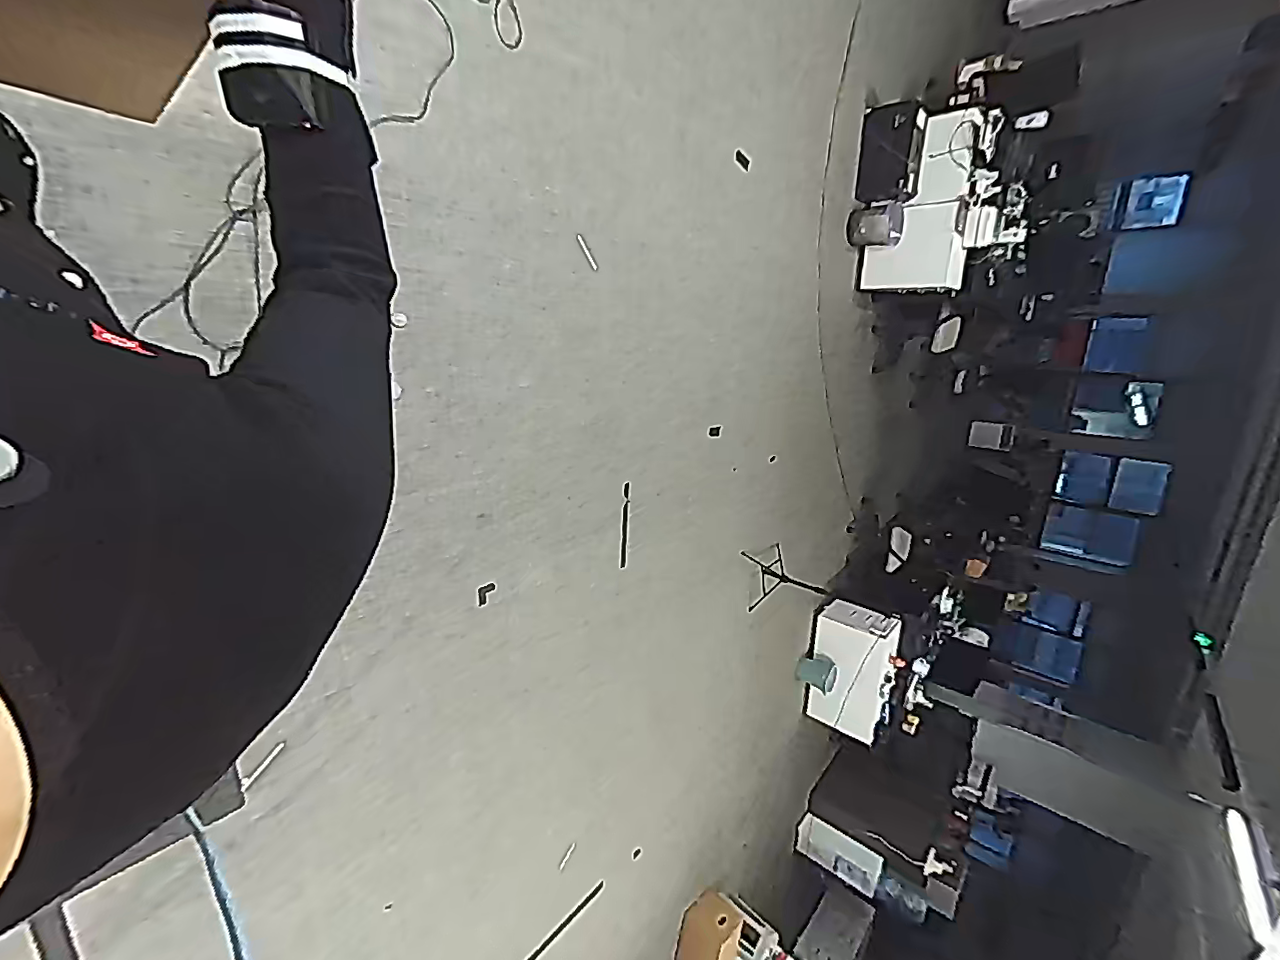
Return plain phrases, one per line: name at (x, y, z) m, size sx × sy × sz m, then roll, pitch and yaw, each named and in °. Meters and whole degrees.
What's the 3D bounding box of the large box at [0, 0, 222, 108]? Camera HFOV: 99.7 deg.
large box at (-0.480, -0.454, 0.248) m, size 0.408 × 0.320 × 0.320 m, roll -13°, pitch 107°, yaw -50°
